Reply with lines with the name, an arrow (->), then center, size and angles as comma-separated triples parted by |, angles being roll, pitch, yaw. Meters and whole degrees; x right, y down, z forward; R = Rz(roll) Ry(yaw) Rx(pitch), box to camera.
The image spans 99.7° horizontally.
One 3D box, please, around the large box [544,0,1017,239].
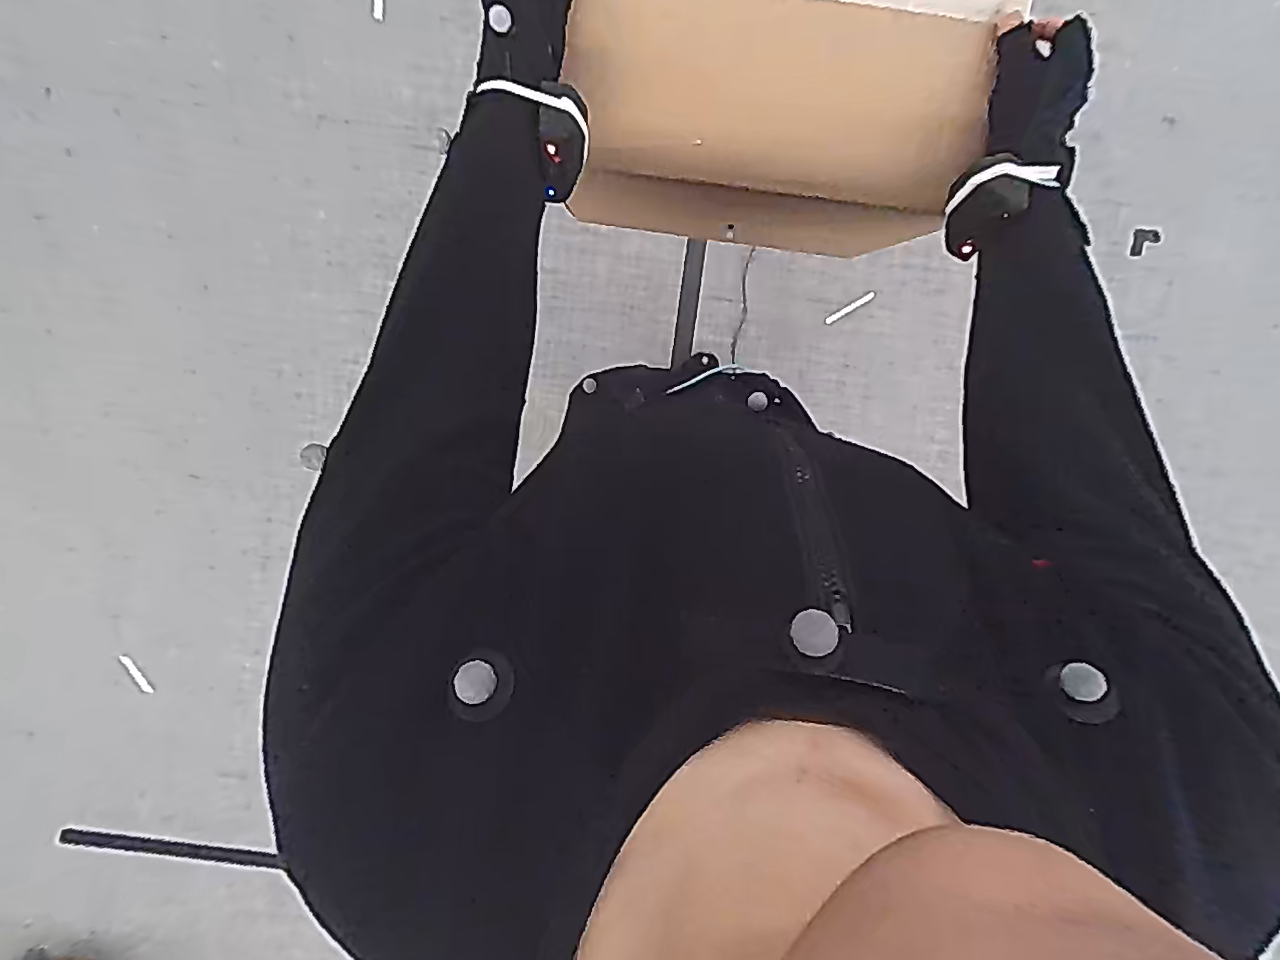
large box -> 0.127, -0.467, 0.598 | 0.408, 0.320, 0.320 | 7, 106, -1
